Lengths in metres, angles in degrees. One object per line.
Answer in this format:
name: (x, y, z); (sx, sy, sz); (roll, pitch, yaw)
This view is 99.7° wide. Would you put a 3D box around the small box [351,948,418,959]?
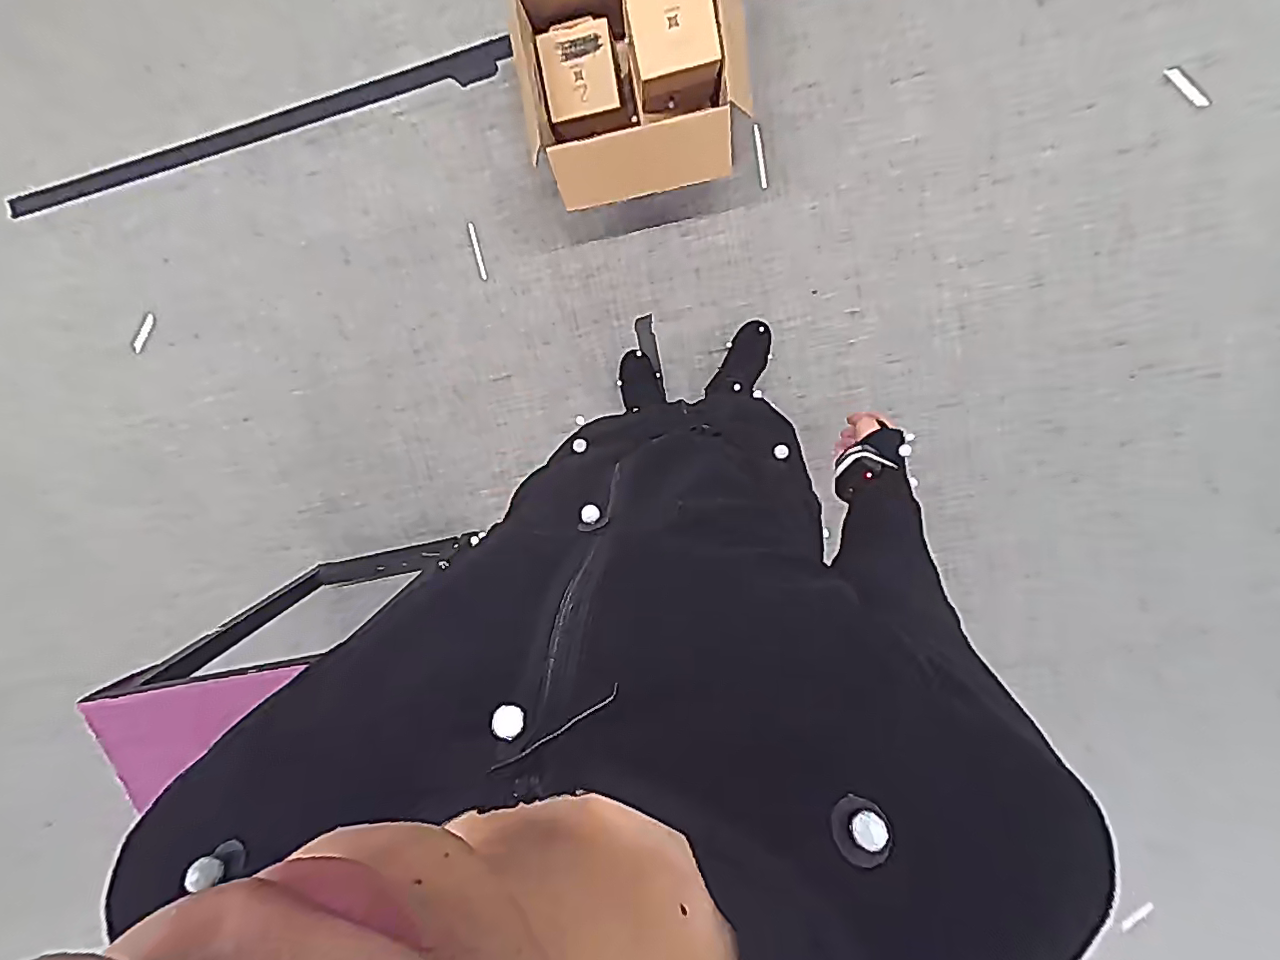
small box: (-0.585, 1.174, 1.175); (0.179, 0.176, 0.168); (-16, 104, 8)
